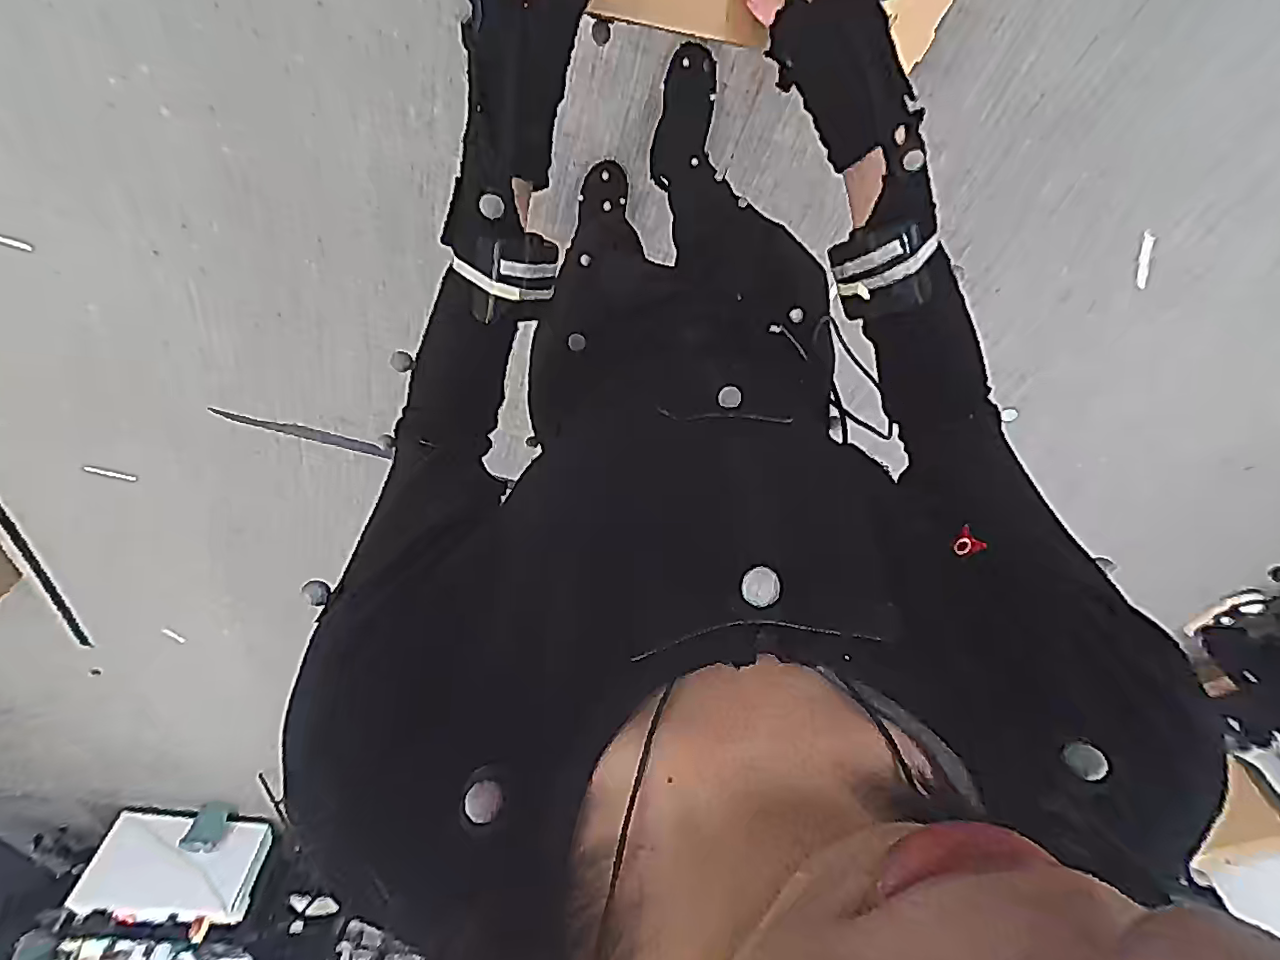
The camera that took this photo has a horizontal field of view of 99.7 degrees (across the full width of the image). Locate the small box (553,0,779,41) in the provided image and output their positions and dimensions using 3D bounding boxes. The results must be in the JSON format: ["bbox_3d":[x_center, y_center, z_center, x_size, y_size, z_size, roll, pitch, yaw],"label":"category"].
[{"bbox_3d":[0.005,-0.415,0.349,0.168,0.176,0.179,-1,132,-15],"label":"small box"}]
